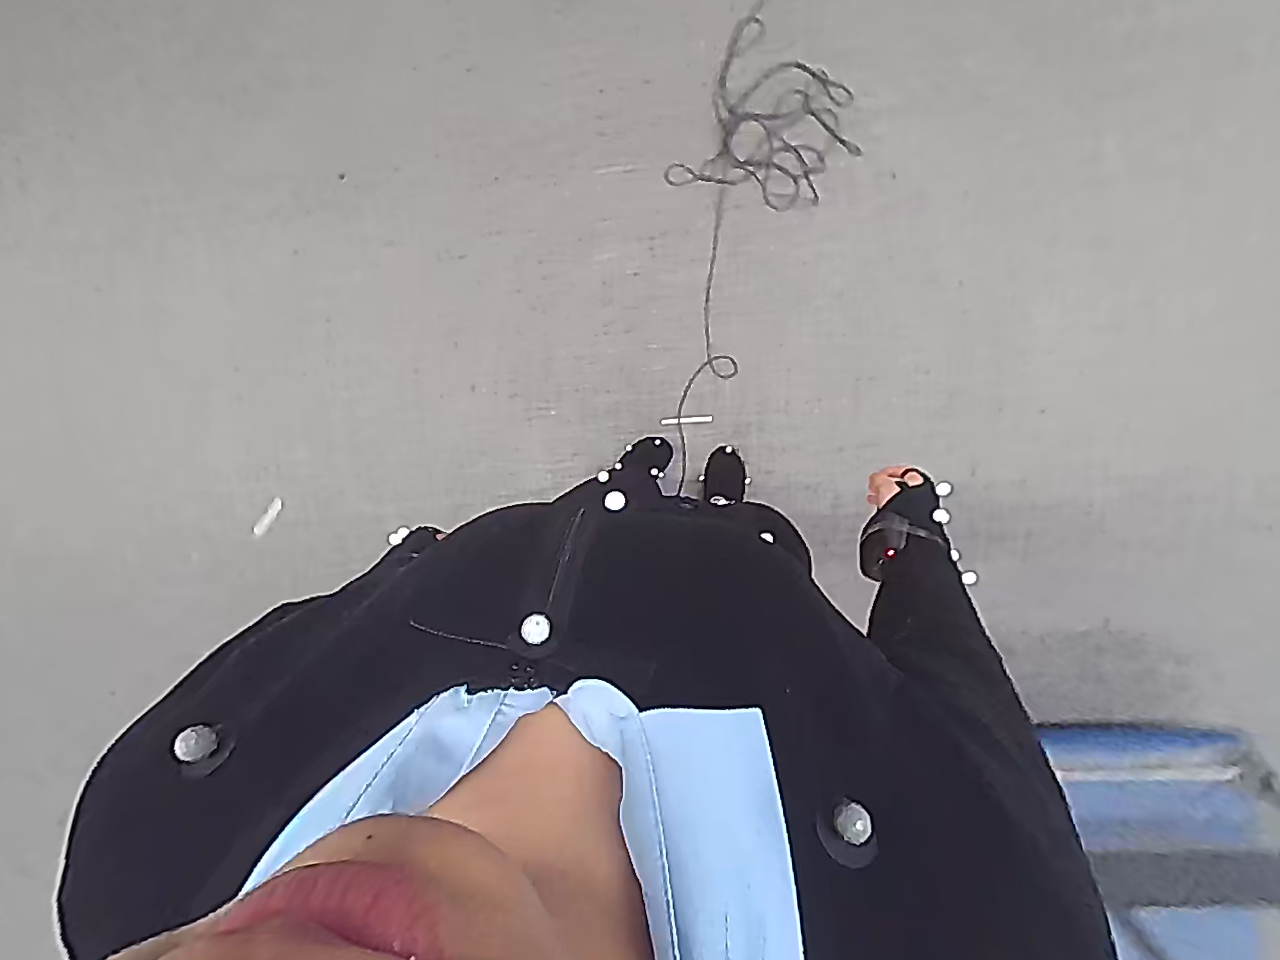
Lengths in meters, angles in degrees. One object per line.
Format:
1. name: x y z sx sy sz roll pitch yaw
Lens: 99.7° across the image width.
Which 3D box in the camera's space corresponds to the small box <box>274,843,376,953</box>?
1. small box: -0.859 1.139 1.487 0.179 0.176 0.168 0 97 7
